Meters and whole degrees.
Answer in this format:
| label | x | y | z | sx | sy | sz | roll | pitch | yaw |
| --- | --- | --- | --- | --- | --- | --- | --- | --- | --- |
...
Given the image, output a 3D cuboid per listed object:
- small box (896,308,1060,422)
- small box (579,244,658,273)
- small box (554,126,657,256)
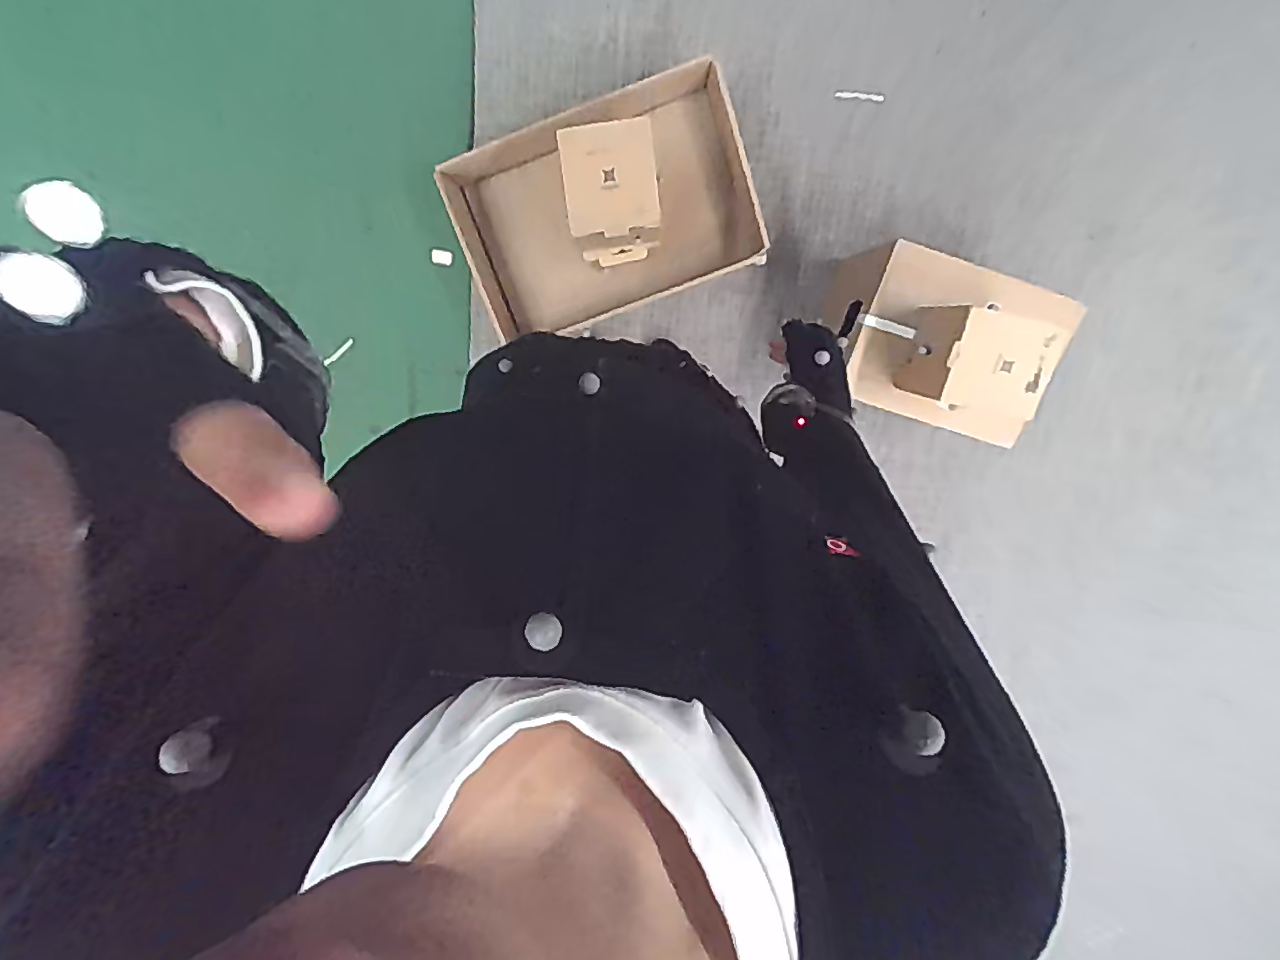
| label | x | y | z | sx | sy | sz | roll | pitch | yaw |
| --- | --- | --- | --- | --- | --- | --- | --- | --- | --- |
| small box | 0.612 | -0.216 | 1.008 | 0.179 | 0.176 | 0.168 | 11 | 106 | -2 |
| small box | -0.055 | -0.563 | 1.190 | 0.168 | 0.176 | 0.179 | -11 | 103 | 5 |
| small box | -0.057 | -0.536 | 1.030 | 0.168 | 0.176 | 0.179 | -7 | 102 | 2 |
